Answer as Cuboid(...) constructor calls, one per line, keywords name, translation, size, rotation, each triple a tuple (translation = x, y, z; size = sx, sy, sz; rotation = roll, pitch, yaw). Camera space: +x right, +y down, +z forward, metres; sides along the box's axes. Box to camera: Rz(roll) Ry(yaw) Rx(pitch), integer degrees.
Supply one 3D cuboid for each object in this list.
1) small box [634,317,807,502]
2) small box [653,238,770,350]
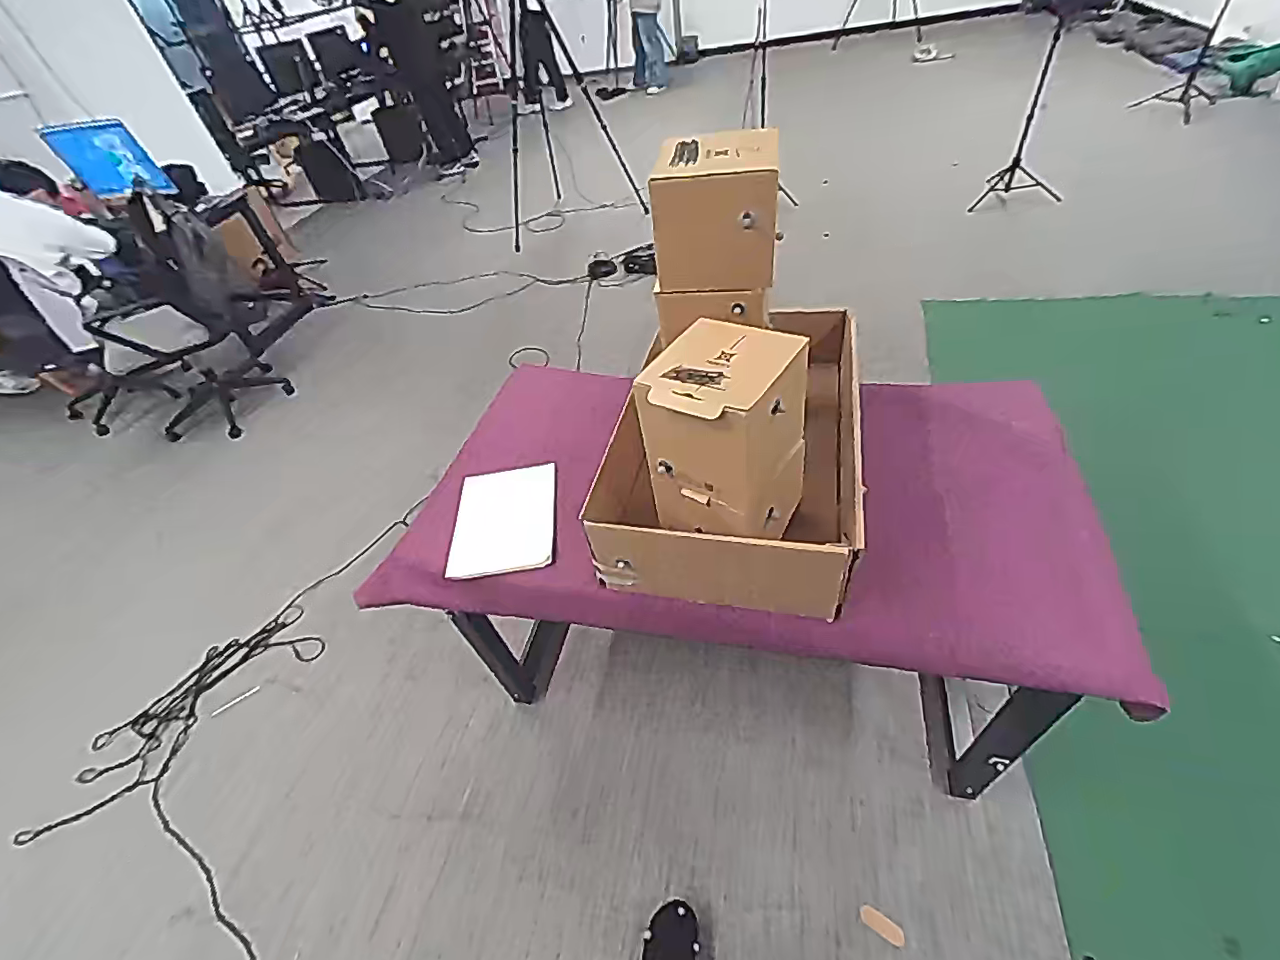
Cuboid(name="small box", translation=(0.117, -0.098, 0.746), size=(0.168, 0.176, 0.179), rotation=(21, 53, 30))
Cuboid(name="small box", translation=(0.133, -0.300, 0.945), size=(0.179, 0.176, 0.168), rotation=(3, 49, 14))
